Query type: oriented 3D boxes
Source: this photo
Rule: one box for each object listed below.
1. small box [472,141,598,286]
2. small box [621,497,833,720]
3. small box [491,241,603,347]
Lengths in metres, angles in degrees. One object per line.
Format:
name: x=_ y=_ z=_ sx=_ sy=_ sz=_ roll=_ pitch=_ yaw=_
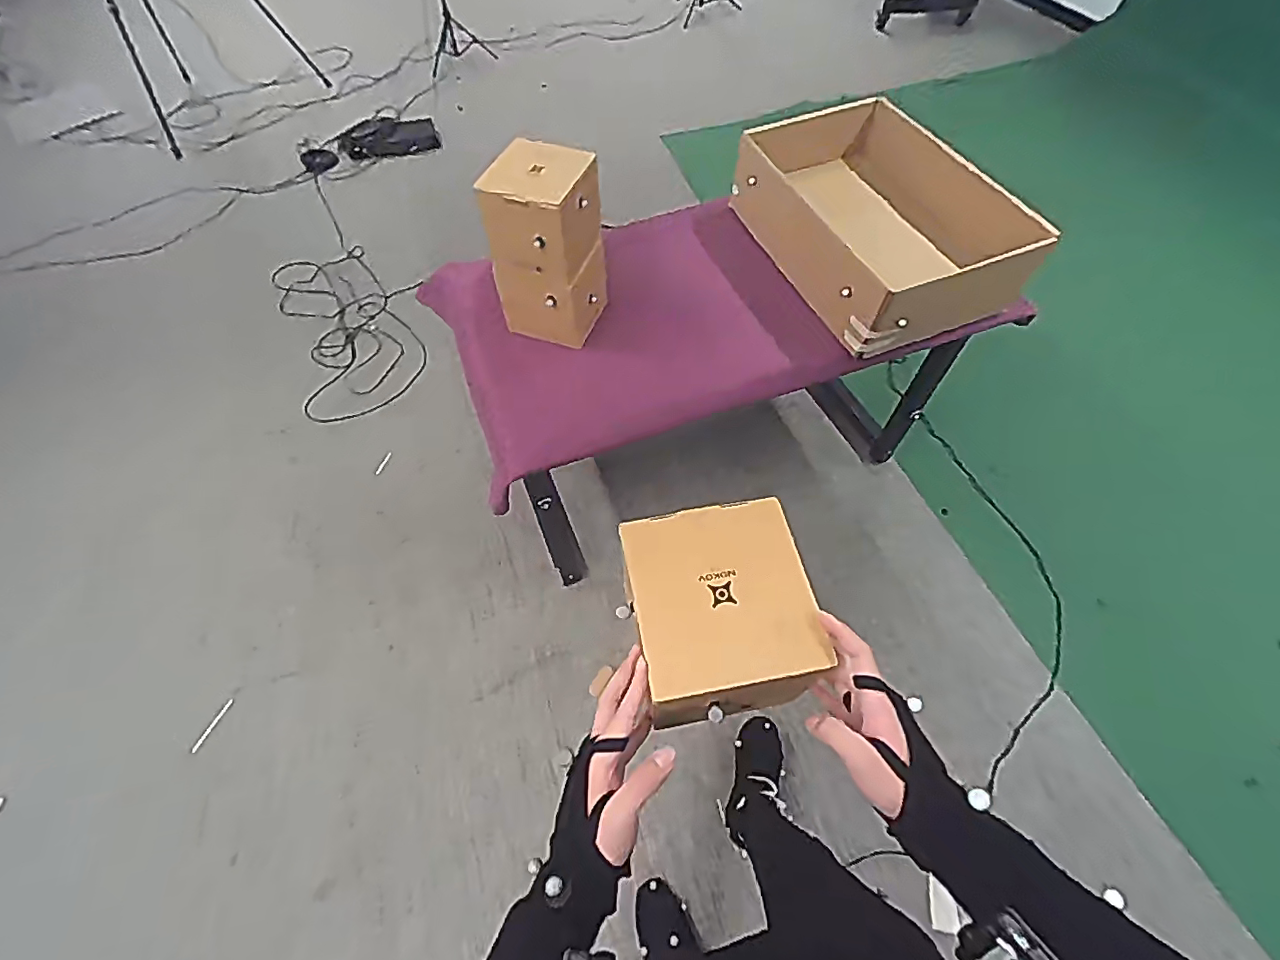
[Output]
small box: x=-0.186 y=-0.501 z=1.027 sx=0.168 sy=0.176 sz=0.179 roll=18 pitch=60 yaw=10
small box: x=0.077 y=0.144 z=0.572 sx=0.168 sy=0.176 sz=0.179 roll=-9 pitch=58 yaw=-5
small box: x=-0.187 y=-0.411 z=1.163 sx=0.179 sy=0.176 sz=0.168 roll=17 pitch=60 yaw=11
